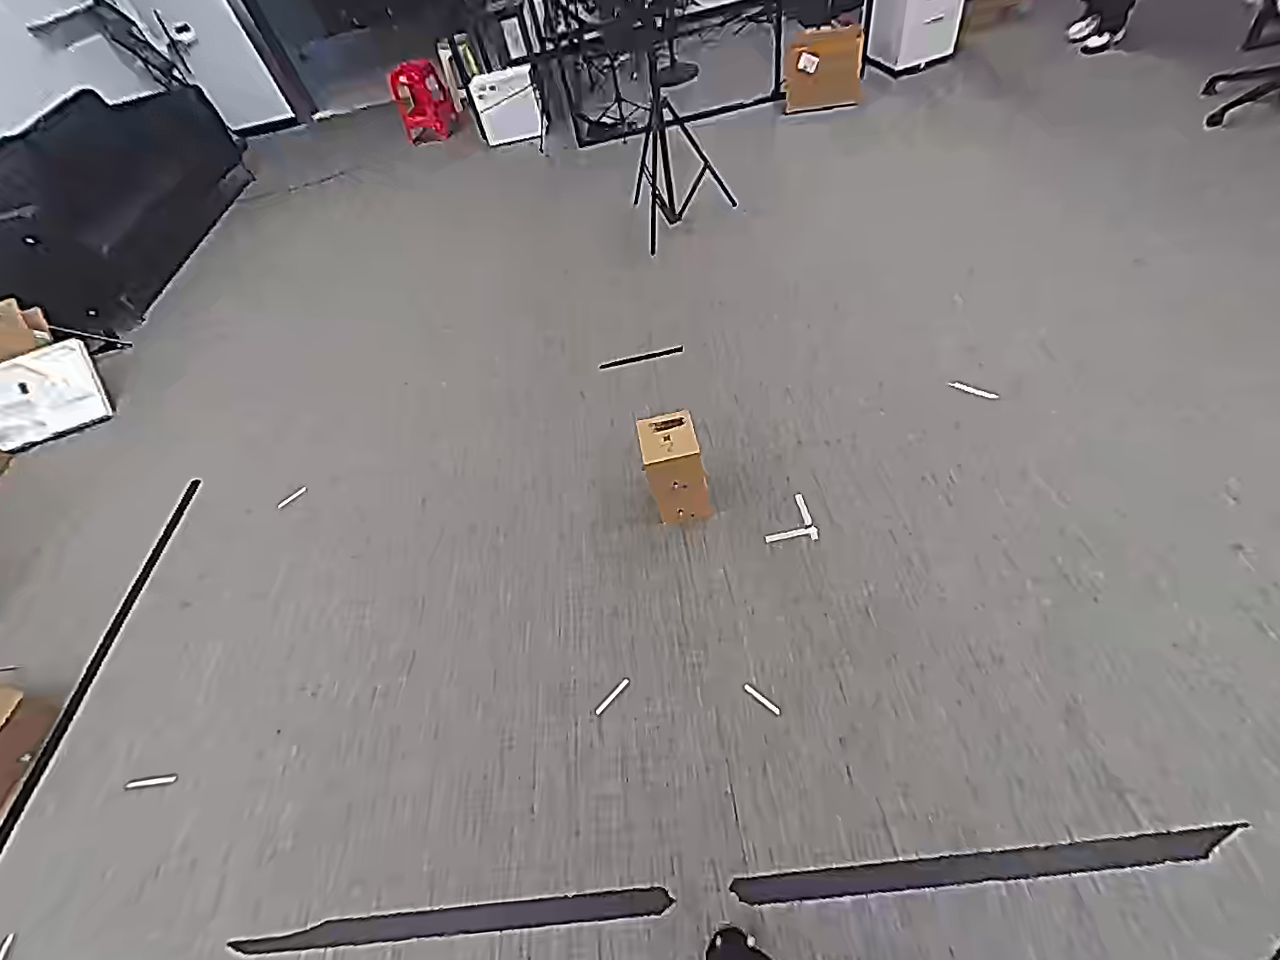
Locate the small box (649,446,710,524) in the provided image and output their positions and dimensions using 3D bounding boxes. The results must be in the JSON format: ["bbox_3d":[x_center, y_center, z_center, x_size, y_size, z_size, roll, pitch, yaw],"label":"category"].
[{"bbox_3d":[0.131,0.019,1.769,0.168,0.176,0.179,-12,51,3],"label":"small box"}]
